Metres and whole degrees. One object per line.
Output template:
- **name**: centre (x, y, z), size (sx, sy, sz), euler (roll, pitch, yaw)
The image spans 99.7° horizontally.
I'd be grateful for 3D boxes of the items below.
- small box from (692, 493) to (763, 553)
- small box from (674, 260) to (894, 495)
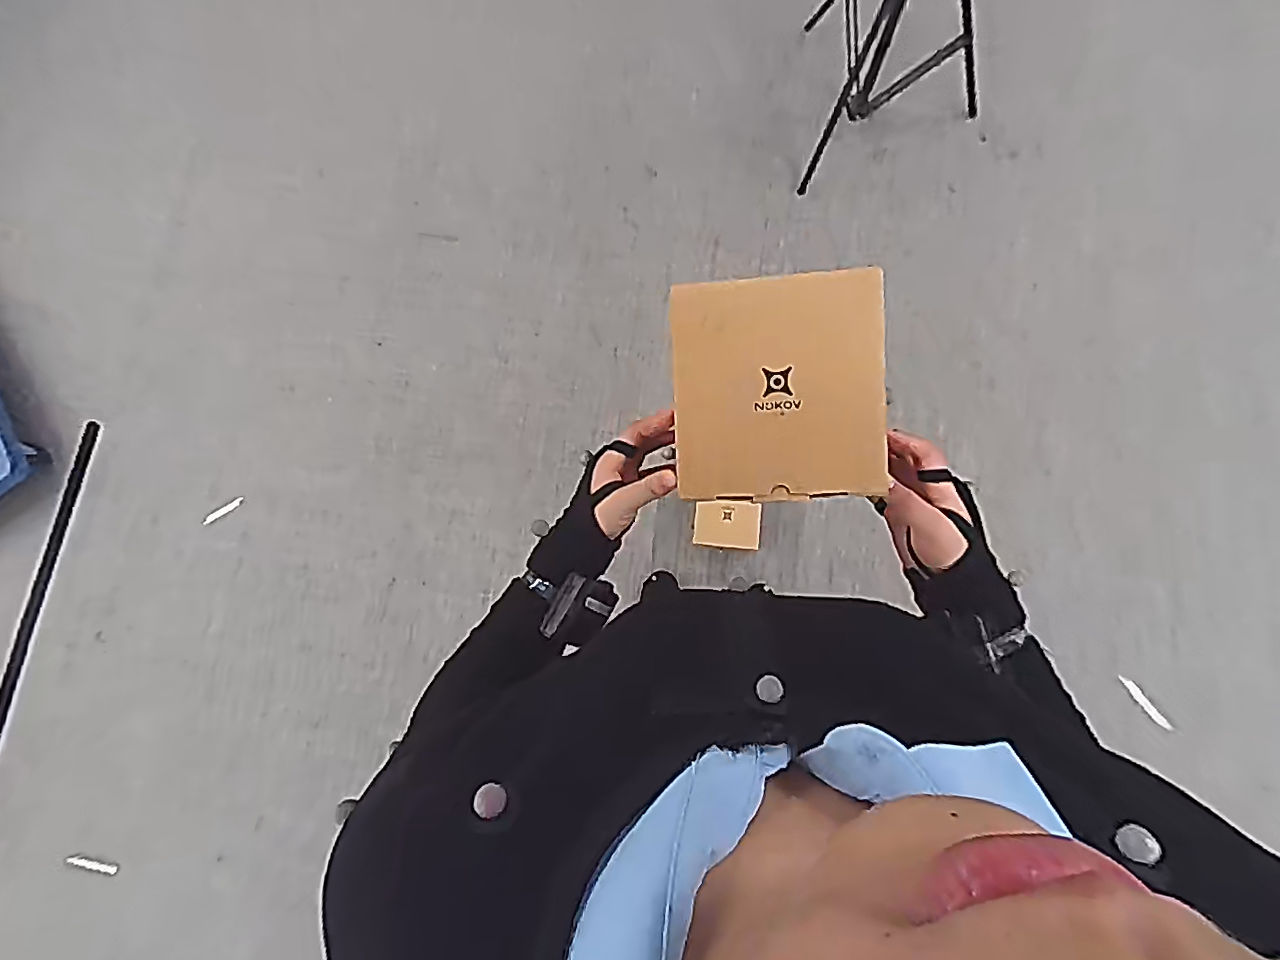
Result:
- **small box**: centre (0.229, 0.099, 1.441), size (0.168, 0.176, 0.179), euler (6, 80, 5)
- **small box**: centre (0.118, -0.079, 0.498), size (0.168, 0.176, 0.179), euler (-3, 92, 7)
